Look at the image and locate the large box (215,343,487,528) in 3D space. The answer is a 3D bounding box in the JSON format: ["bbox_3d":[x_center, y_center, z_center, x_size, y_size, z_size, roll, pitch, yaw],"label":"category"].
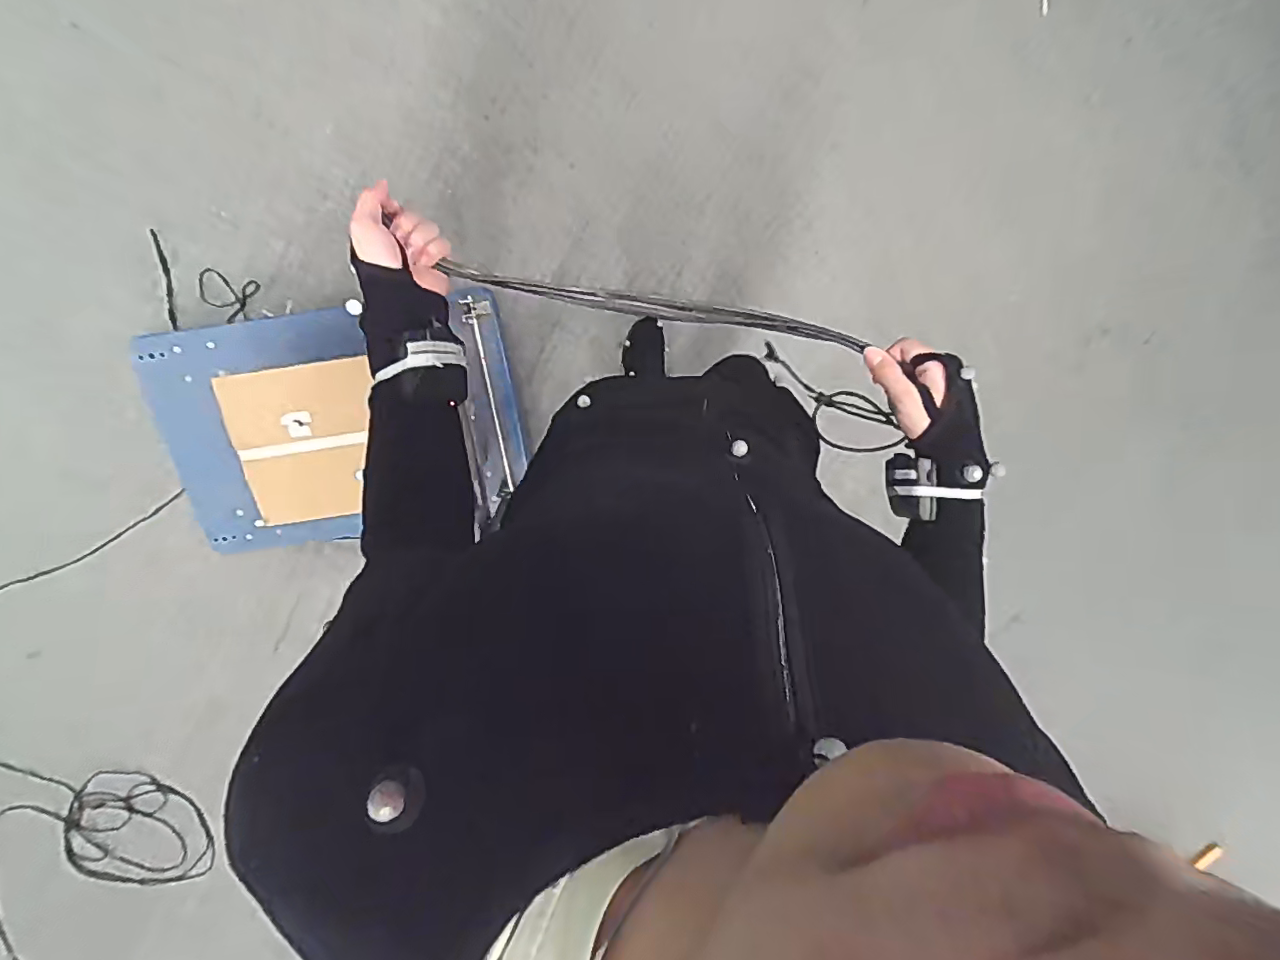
[{"bbox_3d":[-0.604,-0.118,1.219,0.408,0.320,0.320,-8,106,-1],"label":"large box"}]
